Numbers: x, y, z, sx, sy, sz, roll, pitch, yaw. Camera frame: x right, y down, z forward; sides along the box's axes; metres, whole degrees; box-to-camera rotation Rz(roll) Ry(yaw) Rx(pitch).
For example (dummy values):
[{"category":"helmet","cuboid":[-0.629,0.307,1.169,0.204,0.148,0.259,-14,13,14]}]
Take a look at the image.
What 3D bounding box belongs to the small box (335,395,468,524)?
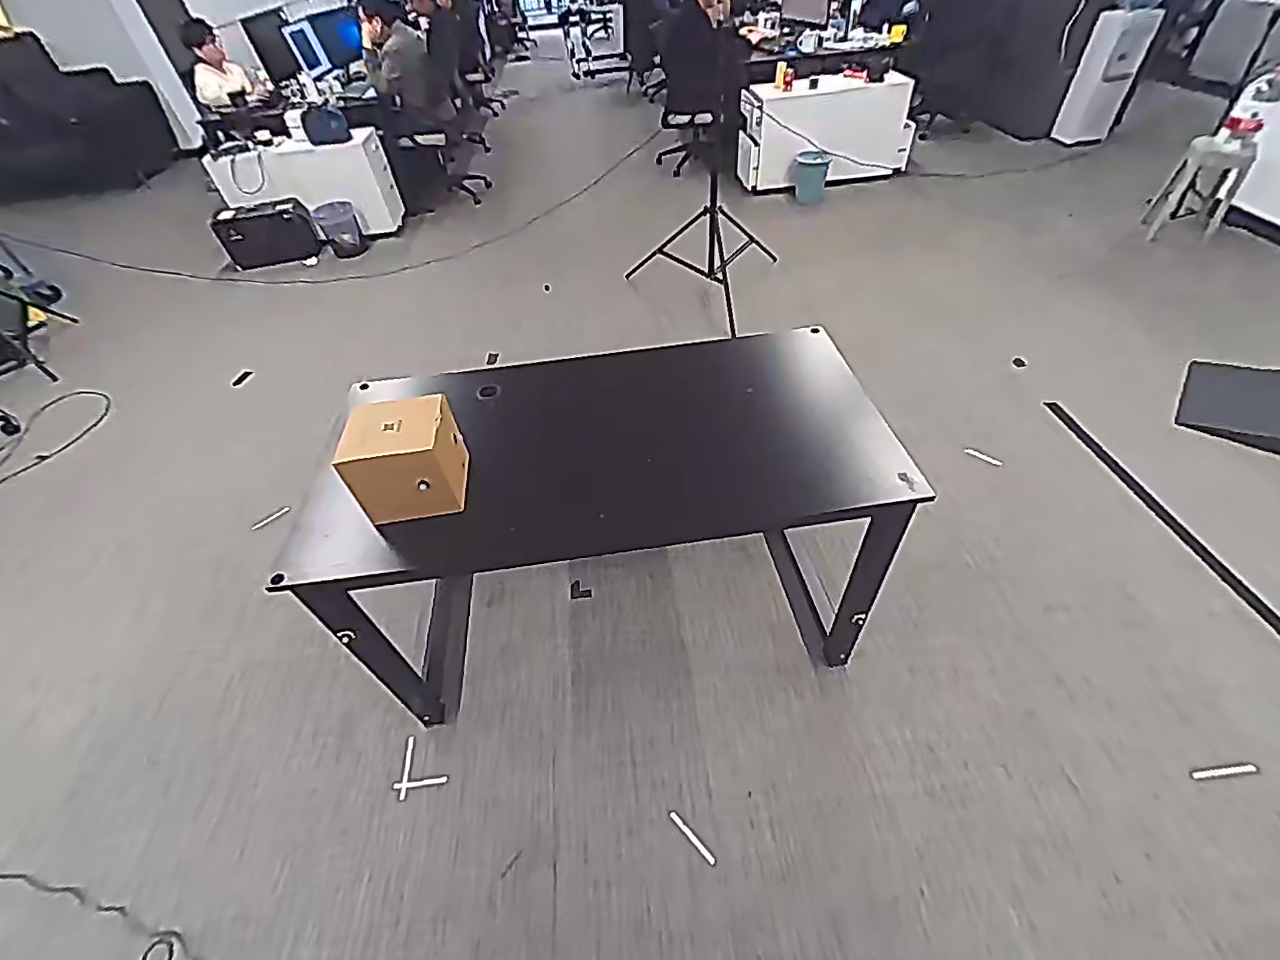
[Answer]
[{"category":"small box","cuboid":[-0.442,-0.038,1.039,0.179,0.176,0.168,-10,45,-3]}]
